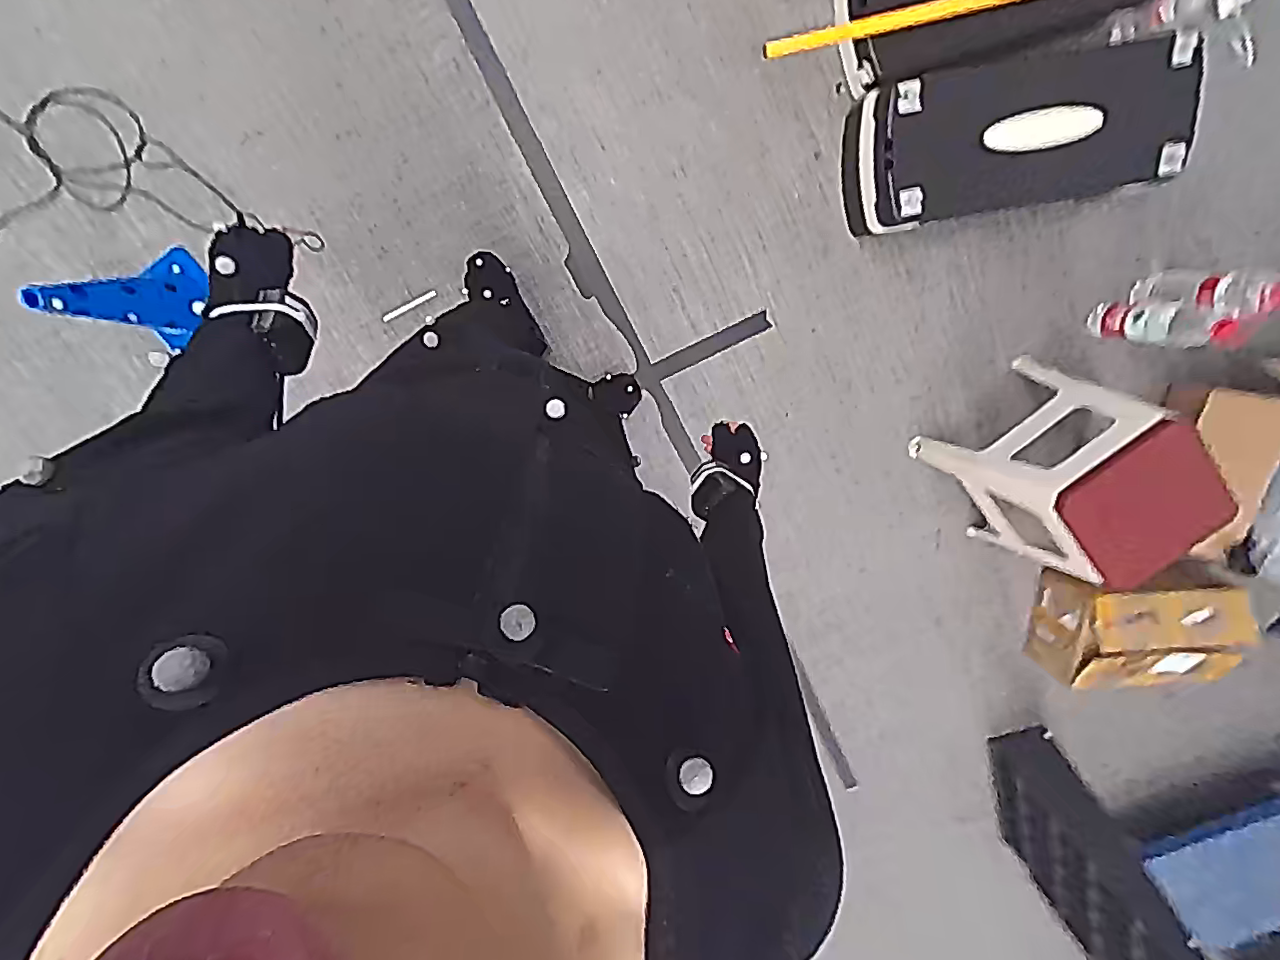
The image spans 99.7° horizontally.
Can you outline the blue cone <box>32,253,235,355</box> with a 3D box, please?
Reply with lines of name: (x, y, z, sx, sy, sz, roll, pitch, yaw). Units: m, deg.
blue cone: (-1.100, -0.379, 1.153, 0.193, 0.380, 0.192, -30, 107, 7)
